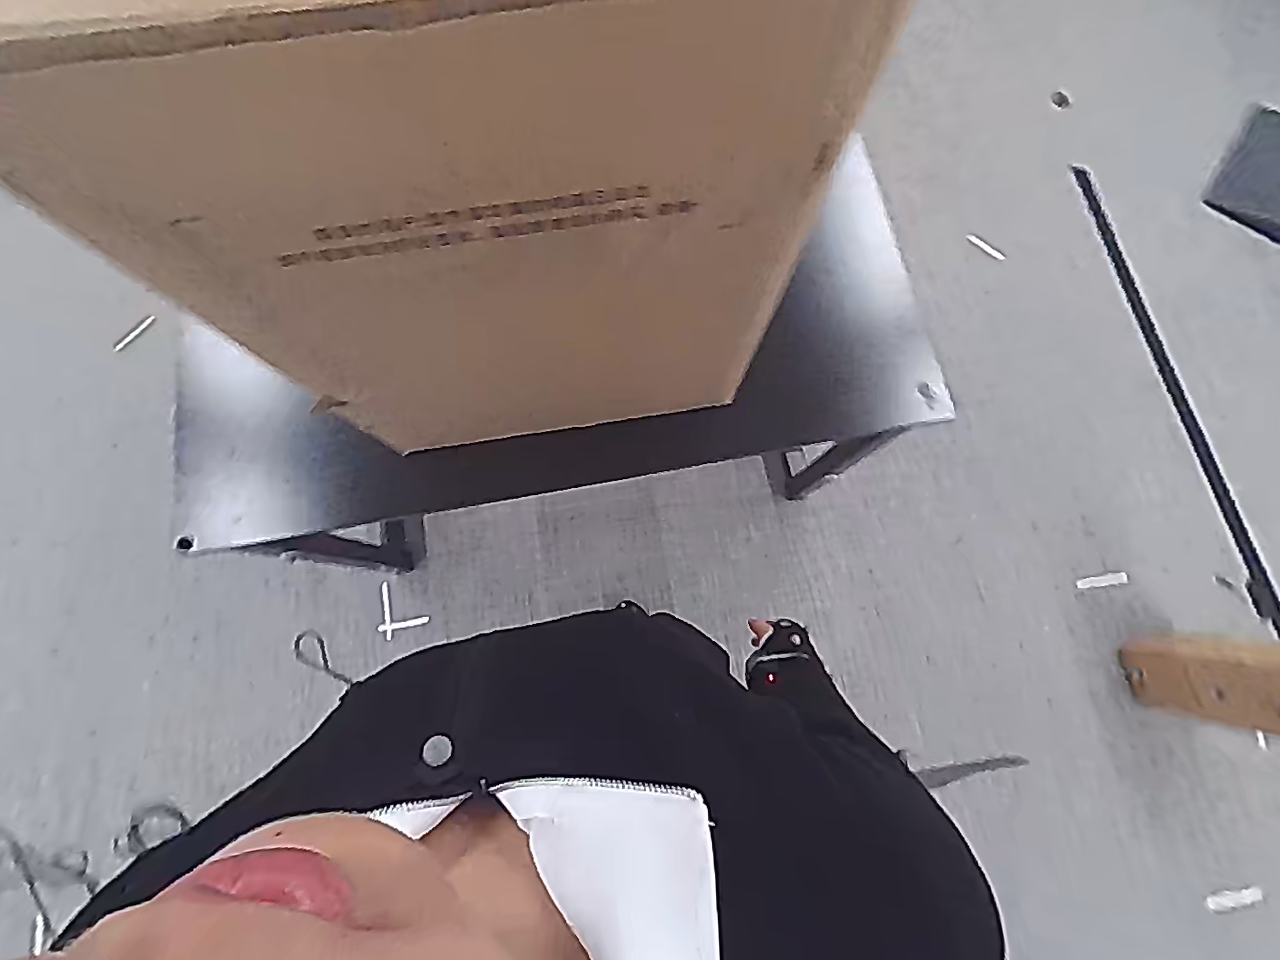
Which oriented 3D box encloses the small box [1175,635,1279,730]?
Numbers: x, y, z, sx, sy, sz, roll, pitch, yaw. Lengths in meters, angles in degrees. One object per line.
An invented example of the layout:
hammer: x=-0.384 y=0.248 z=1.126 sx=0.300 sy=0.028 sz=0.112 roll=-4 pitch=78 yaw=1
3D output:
small box: x=1.396 y=0.455 z=1.237 sx=0.179 sy=0.176 sz=0.168 roll=-11 pitch=76 yaw=-3

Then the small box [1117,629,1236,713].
small box: x=1.409 y=0.485 z=1.398 sx=0.179 sy=0.176 sz=0.168 roll=-12 pitch=76 yaw=-2

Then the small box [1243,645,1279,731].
small box: x=1.396 y=0.415 z=1.076 sx=0.179 sy=0.176 sz=0.168 roll=-16 pitch=76 yaw=-5
